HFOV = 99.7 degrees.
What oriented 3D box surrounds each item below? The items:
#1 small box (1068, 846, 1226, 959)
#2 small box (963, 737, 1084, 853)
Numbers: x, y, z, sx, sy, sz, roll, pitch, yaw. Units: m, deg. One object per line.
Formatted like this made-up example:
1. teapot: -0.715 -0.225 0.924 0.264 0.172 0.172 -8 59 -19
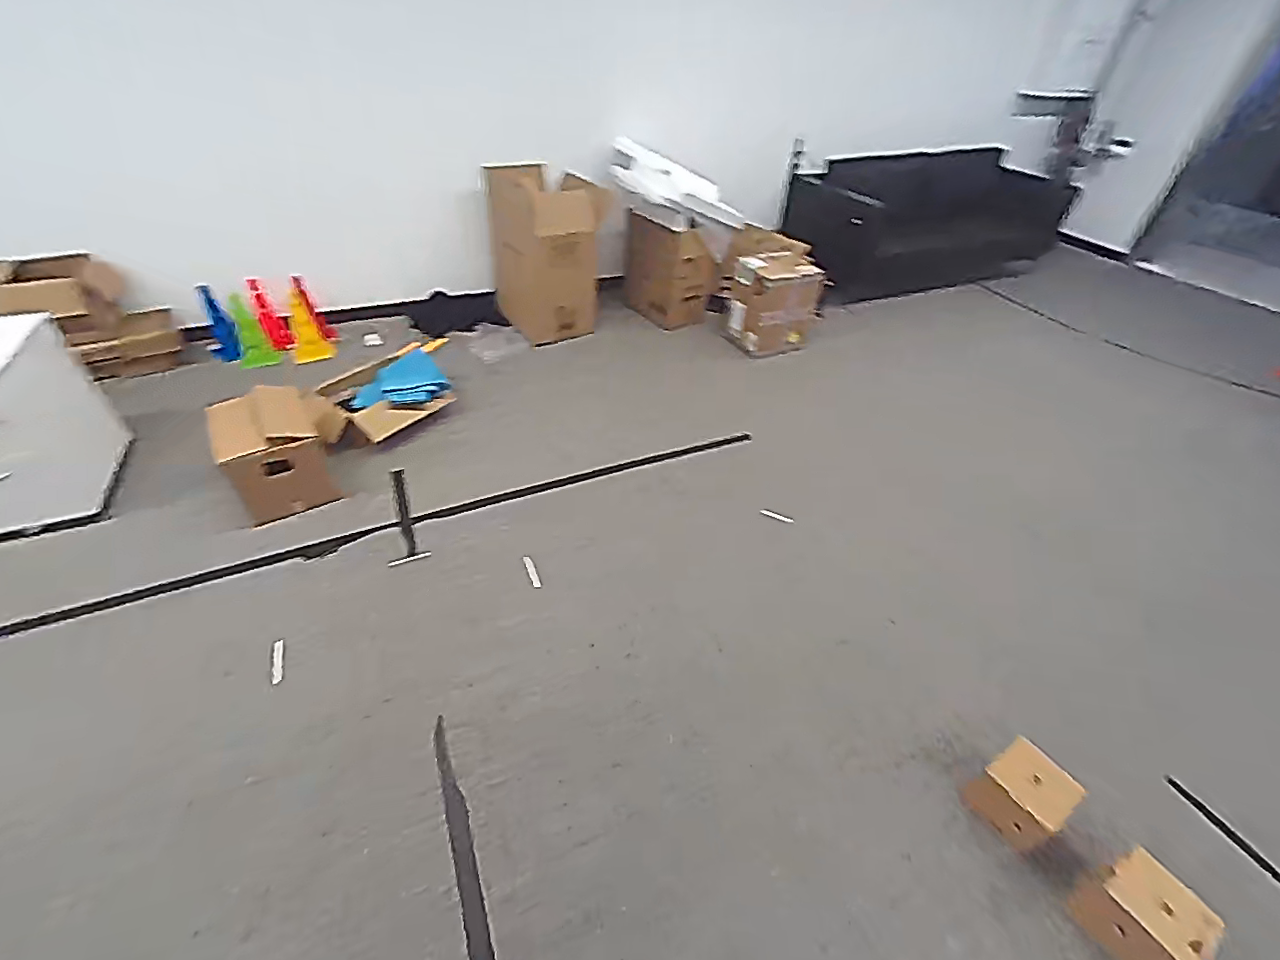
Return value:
1. small box: 1.113 0.974 1.203 0.168 0.176 0.179 -21 46 -26
2. small box: 0.971 0.810 1.387 0.179 0.176 0.168 -22 47 -28
